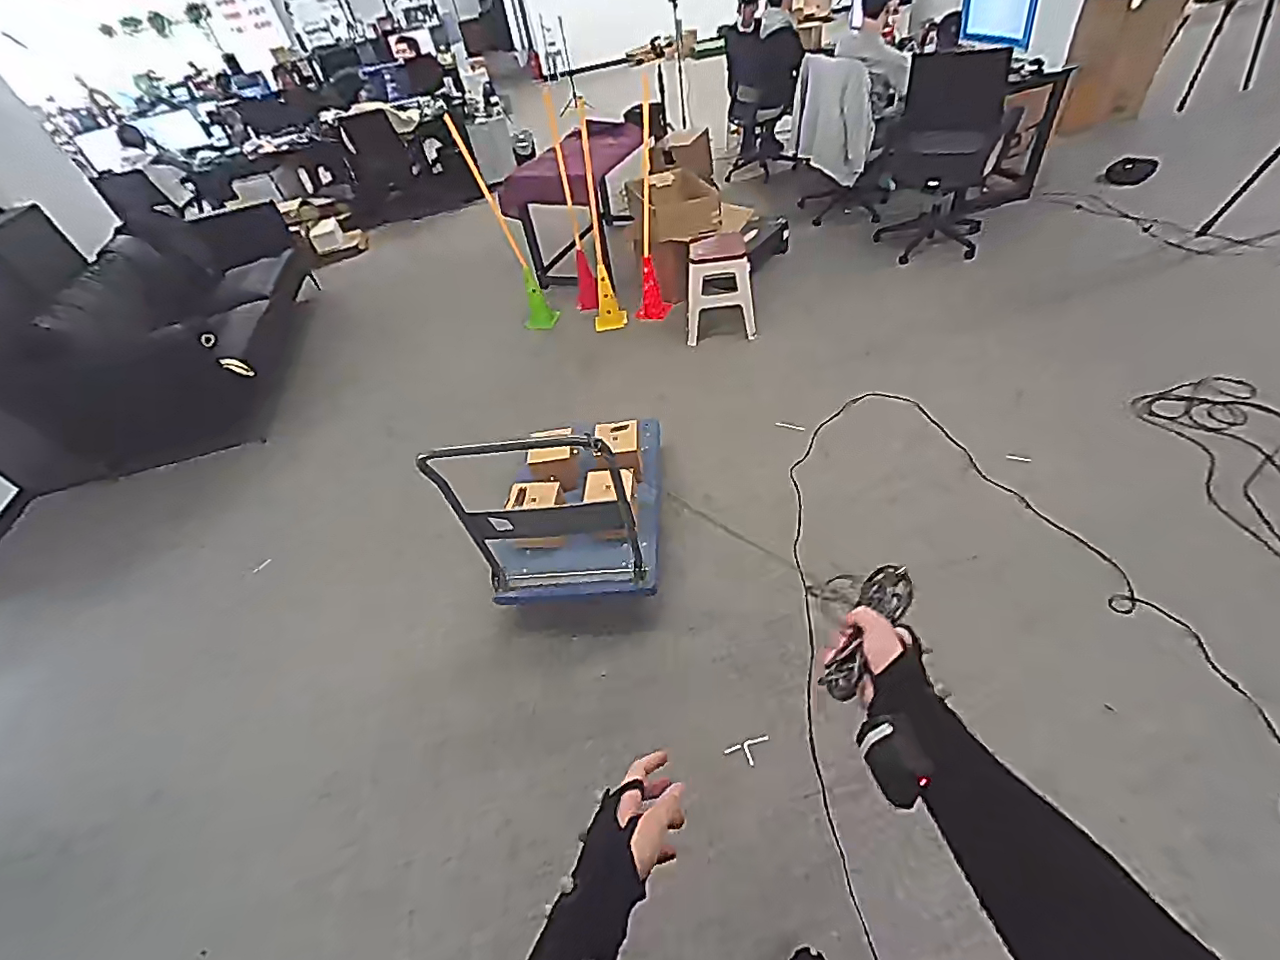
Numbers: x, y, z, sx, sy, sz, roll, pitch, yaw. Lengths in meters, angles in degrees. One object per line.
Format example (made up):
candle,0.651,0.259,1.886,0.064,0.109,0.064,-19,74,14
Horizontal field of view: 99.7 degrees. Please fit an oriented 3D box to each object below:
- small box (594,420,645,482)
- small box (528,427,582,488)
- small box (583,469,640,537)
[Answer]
small box,-0.075,-0.108,2.091,0.168,0.176,0.179,-6,46,7
small box,-0.329,-0.081,2.120,0.168,0.176,0.179,-7,45,5
small box,-0.094,0.084,1.912,0.168,0.176,0.179,-4,46,9
